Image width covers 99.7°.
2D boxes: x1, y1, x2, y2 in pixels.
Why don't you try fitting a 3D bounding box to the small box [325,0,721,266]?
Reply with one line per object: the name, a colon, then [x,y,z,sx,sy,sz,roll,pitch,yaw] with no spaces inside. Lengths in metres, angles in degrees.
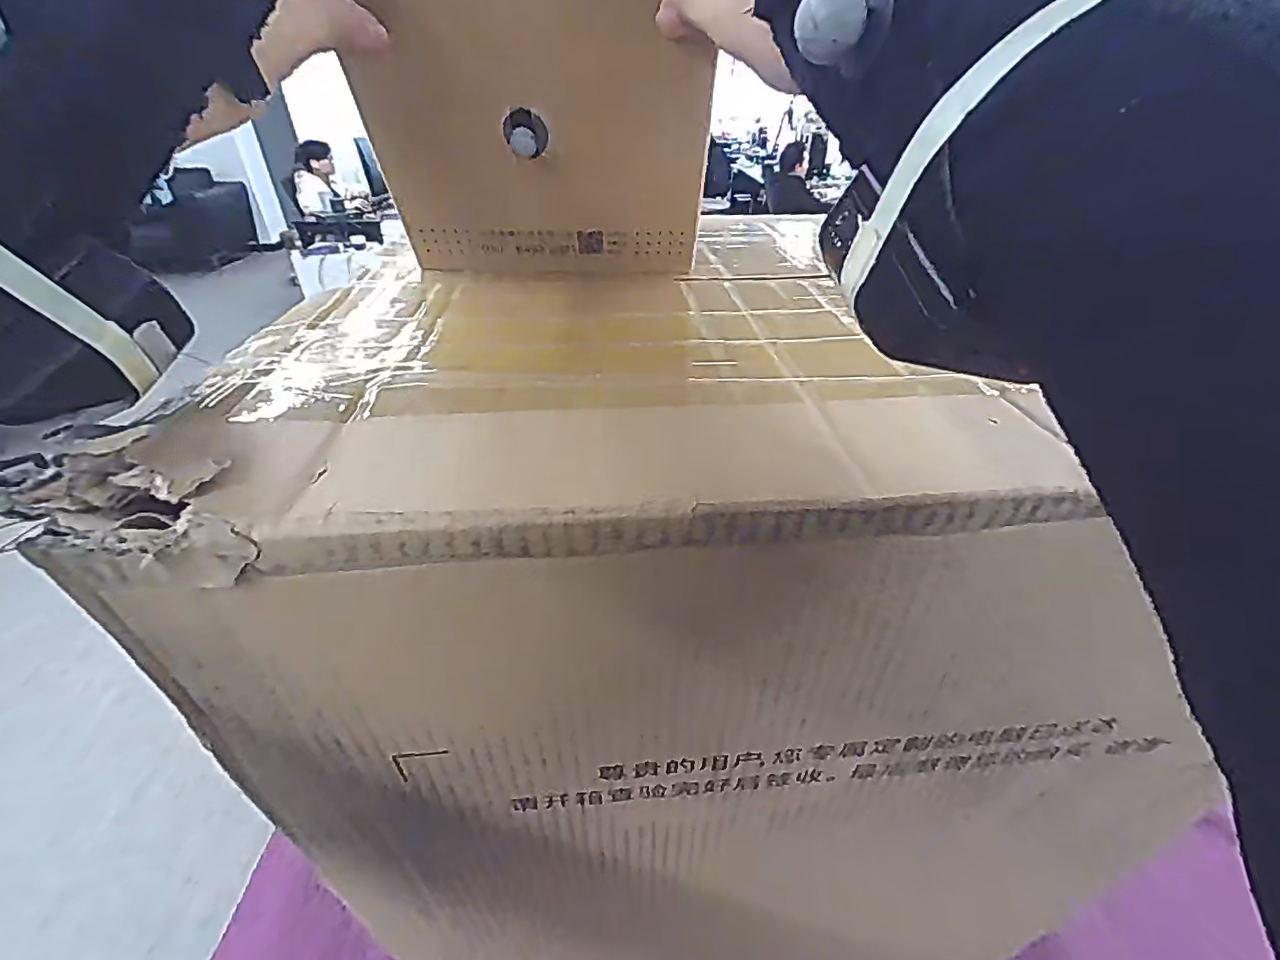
small box: [-0.046,-0.240,0.301,0.168,0.176,0.179,1,59,-1]
